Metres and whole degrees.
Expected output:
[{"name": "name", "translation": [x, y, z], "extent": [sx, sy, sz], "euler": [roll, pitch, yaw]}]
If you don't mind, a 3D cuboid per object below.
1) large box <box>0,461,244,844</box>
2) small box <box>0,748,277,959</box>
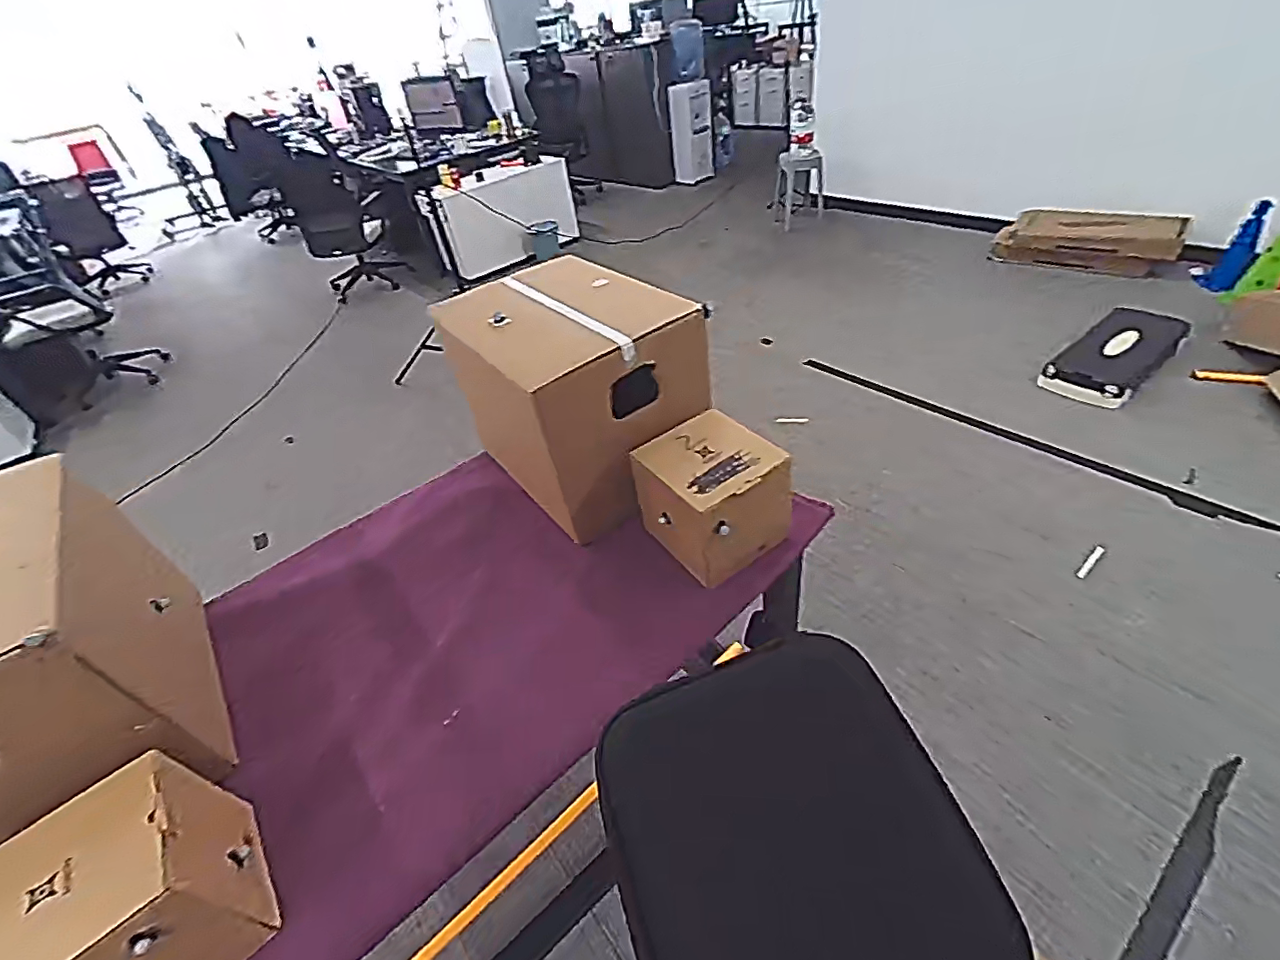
[{"name": "large box", "translation": [-0.773, 0.245, 0.666], "extent": [0.320, 0.320, 0.408], "euler": [-34, 48, -26]}, {"name": "small box", "translation": [-0.503, 0.415, 0.526], "extent": [0.179, 0.176, 0.168], "euler": [-35, 46, -26]}]
